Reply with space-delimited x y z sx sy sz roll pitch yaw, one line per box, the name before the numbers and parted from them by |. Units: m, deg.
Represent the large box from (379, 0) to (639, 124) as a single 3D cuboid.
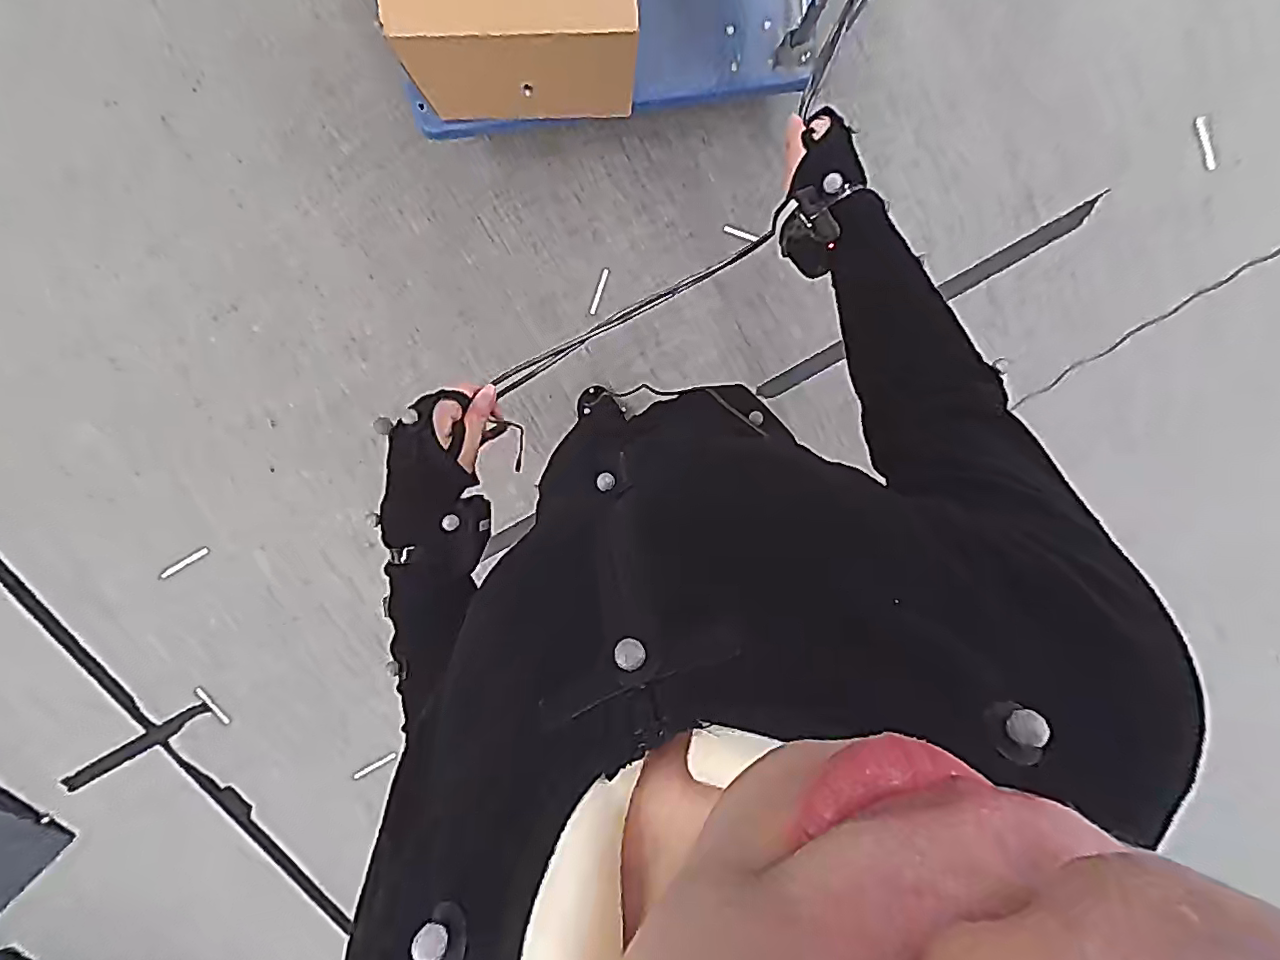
large box | -0.216 -0.873 0.963 0.408 0.320 0.320 -4 102 -2
